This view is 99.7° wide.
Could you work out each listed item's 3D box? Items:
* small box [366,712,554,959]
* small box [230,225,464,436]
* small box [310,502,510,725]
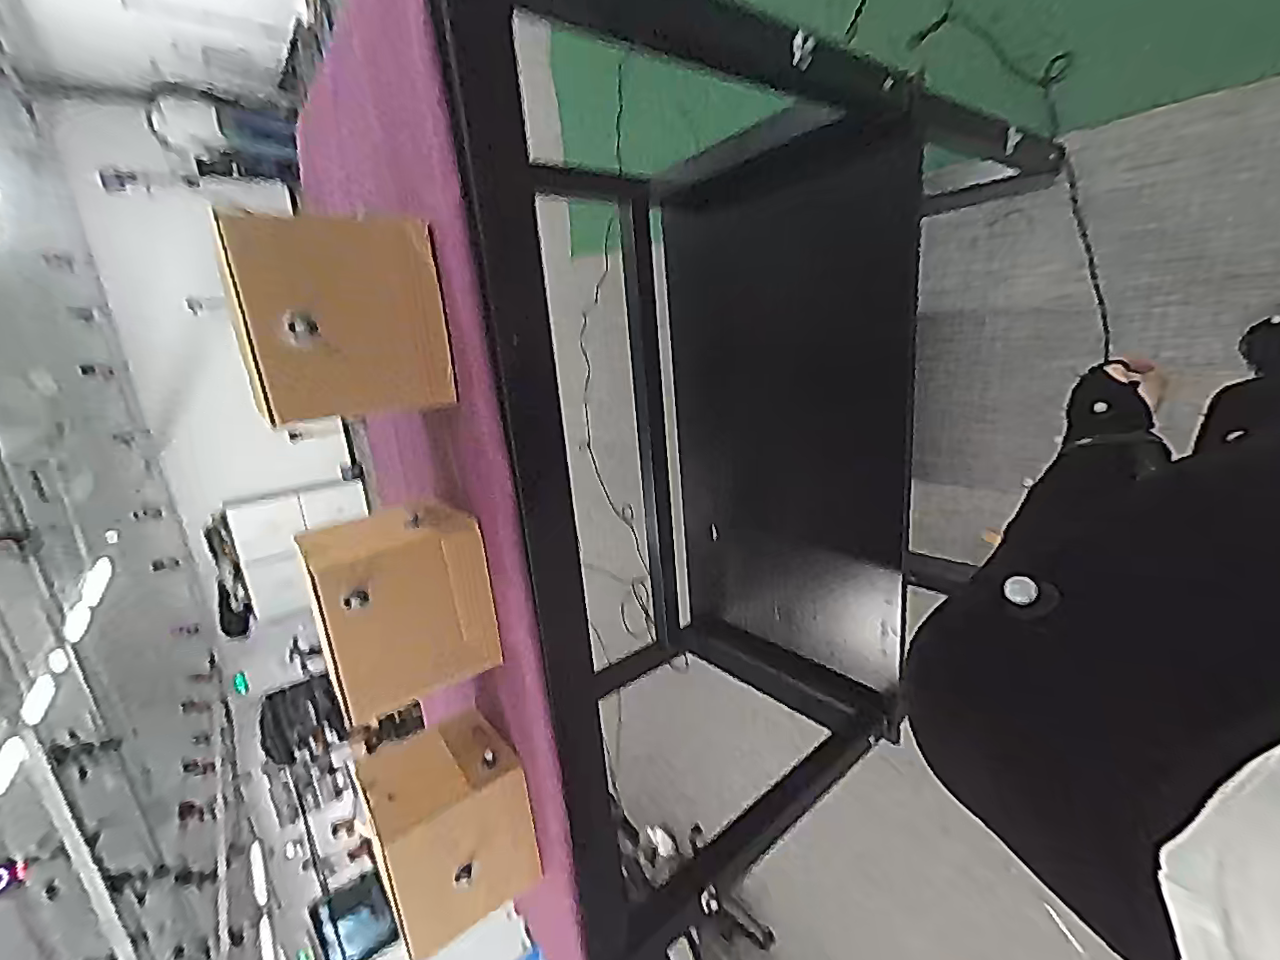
[{"bbox_3d":[-0.231,0.440,0.703,0.168,0.176,0.179,9,111,53],"label":"small box"},{"bbox_3d":[-0.295,-0.155,0.555,0.168,0.176,0.179,17,117,50],"label":"small box"},{"bbox_3d":[-0.266,0.139,0.636,0.168,0.176,0.179,12,113,52],"label":"small box"}]
